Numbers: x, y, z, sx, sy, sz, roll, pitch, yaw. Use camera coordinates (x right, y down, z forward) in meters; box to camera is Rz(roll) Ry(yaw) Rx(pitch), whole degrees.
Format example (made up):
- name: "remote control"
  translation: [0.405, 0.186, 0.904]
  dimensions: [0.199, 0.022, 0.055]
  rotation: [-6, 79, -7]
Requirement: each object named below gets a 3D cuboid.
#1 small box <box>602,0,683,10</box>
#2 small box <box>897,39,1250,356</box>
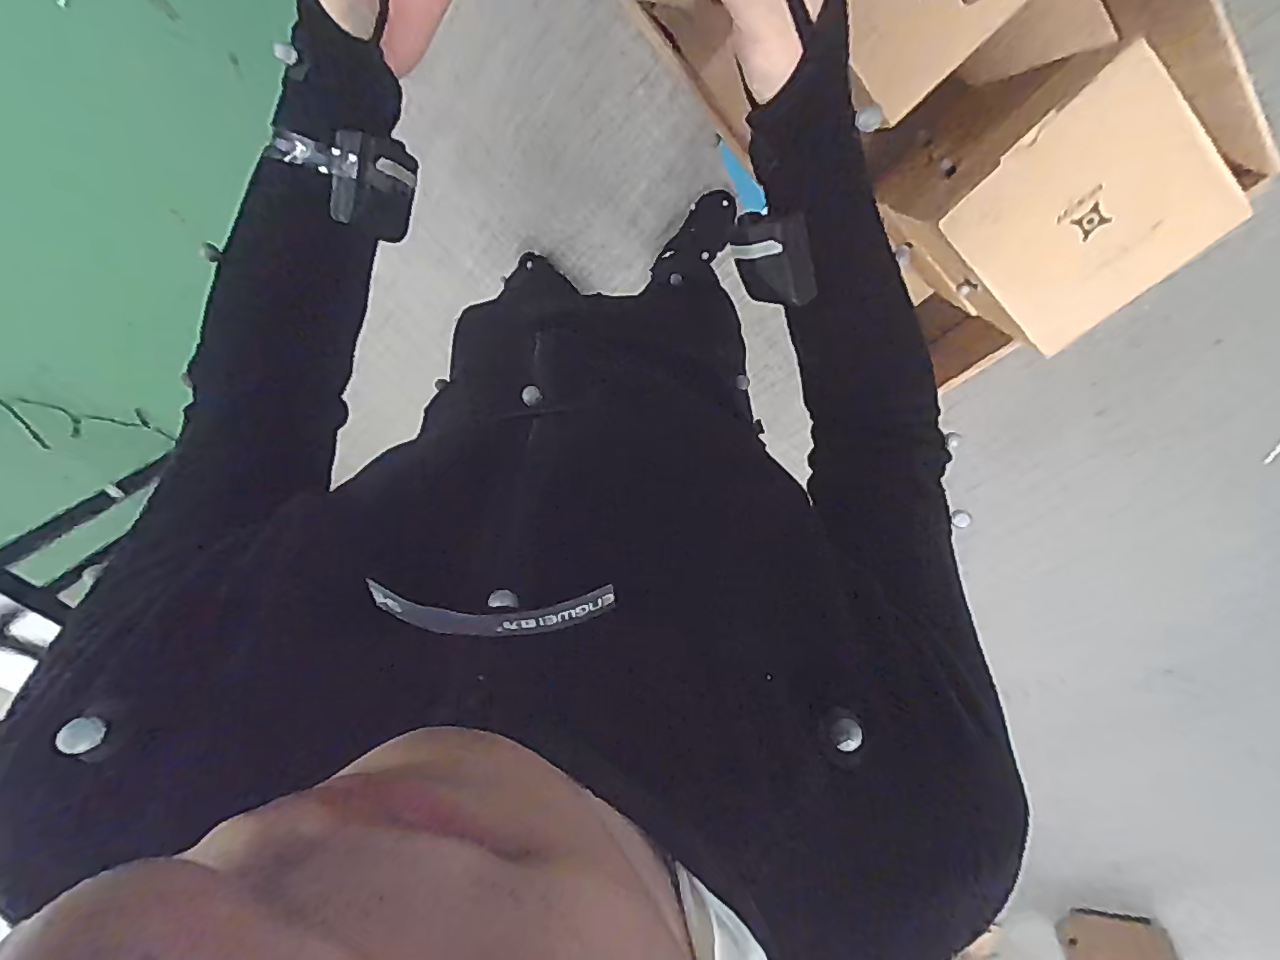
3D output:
- name: "small box"
  translation: [-0.046, -0.361, 0.271]
  dimensions: [0.179, 0.176, 0.168]
  rotation: [12, 129, 1]
- name: "small box"
  translation: [0.377, -0.254, 0.510]
  dimensions: [0.179, 0.176, 0.168]
  rotation: [40, 120, -14]
